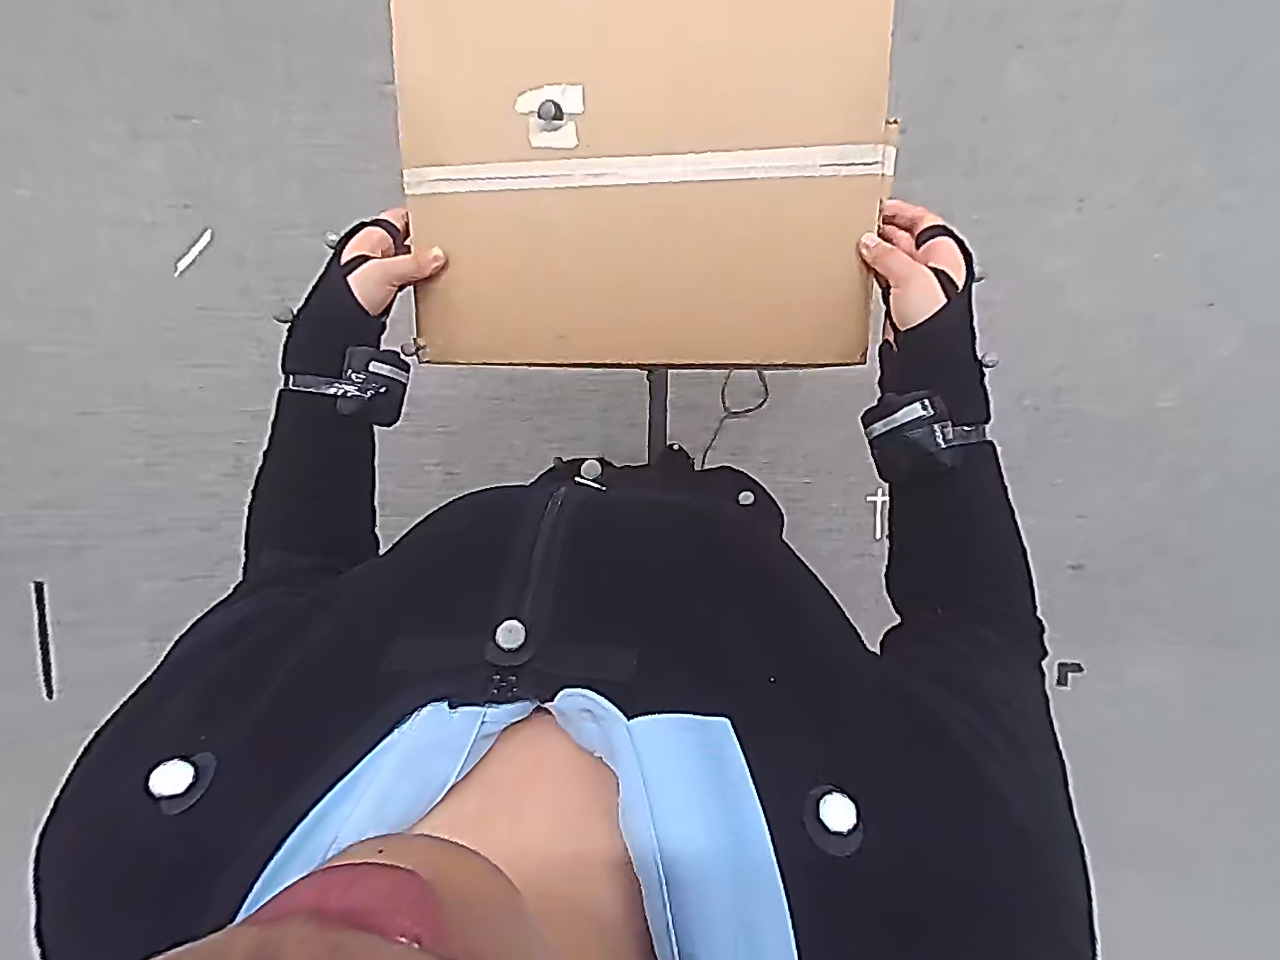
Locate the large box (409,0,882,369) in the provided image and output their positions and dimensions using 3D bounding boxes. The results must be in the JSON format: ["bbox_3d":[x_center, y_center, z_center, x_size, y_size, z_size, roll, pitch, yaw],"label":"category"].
[{"bbox_3d":[0.018,-0.287,0.612,0.408,0.320,0.320,1,99,9],"label":"large box"}]
